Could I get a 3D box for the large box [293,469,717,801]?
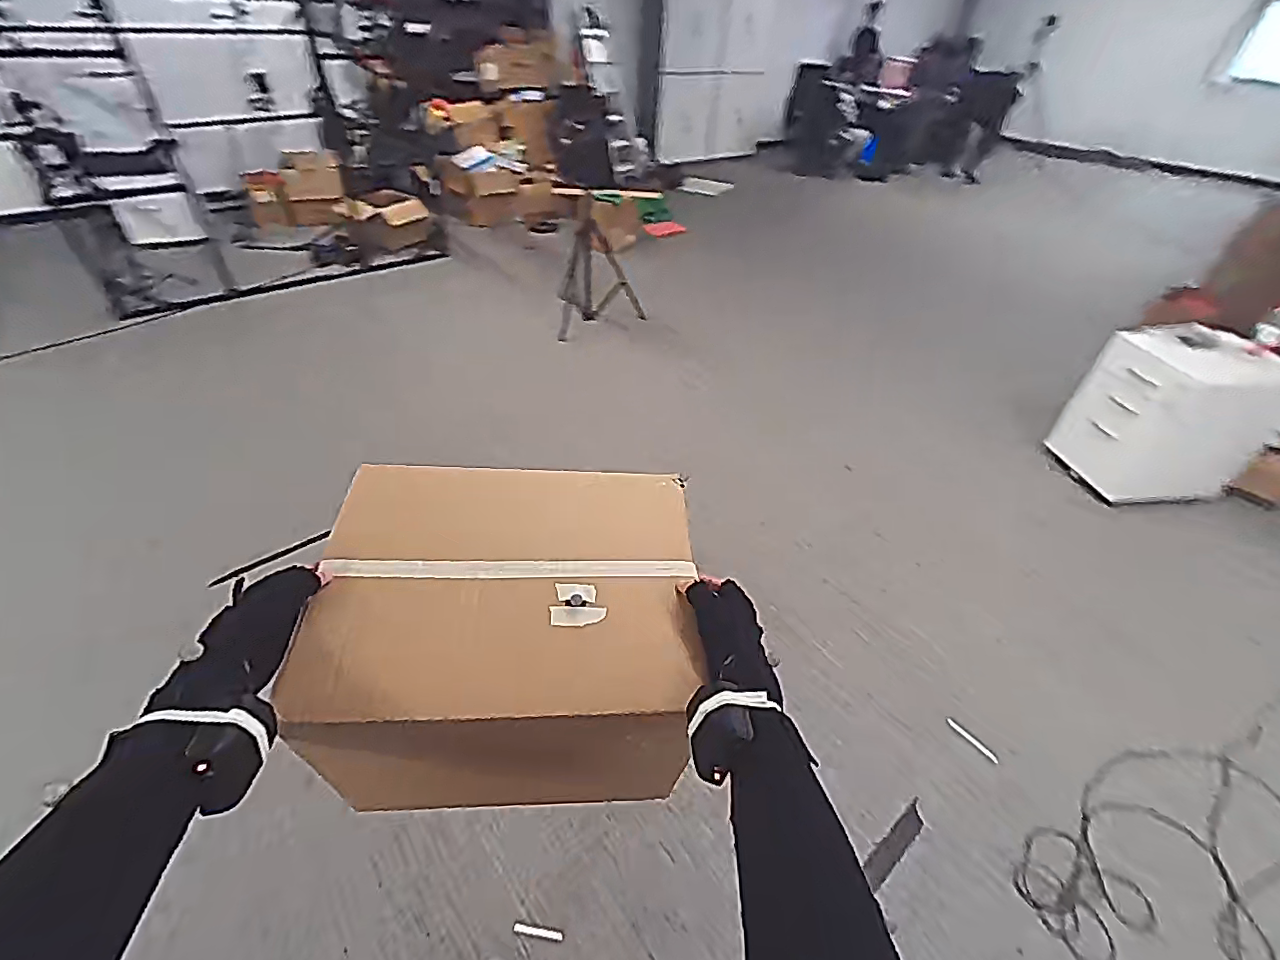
[{"bbox_3d":[-0.148,0.206,0.716,0.408,0.320,0.320,3,47,-8],"label":"large box"}]
